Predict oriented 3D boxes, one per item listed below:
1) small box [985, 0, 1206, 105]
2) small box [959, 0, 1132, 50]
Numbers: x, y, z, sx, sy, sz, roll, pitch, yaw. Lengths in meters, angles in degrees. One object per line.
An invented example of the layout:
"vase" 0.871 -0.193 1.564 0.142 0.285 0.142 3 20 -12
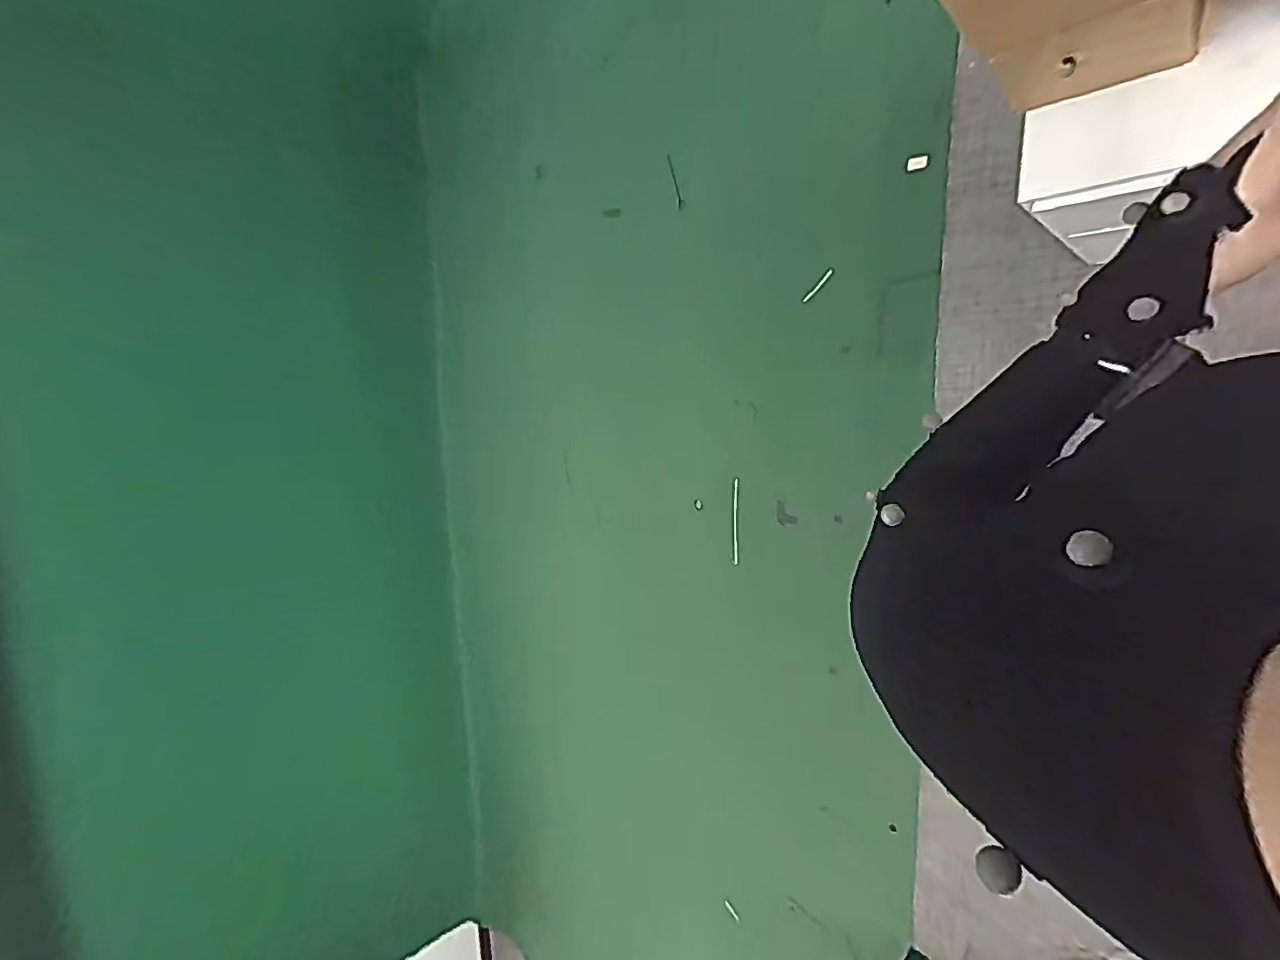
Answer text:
"small box" 0.522 -0.567 0.614 0.179 0.176 0.168 10 104 45
"small box" 0.402 -0.552 0.501 0.179 0.176 0.168 9 103 45
